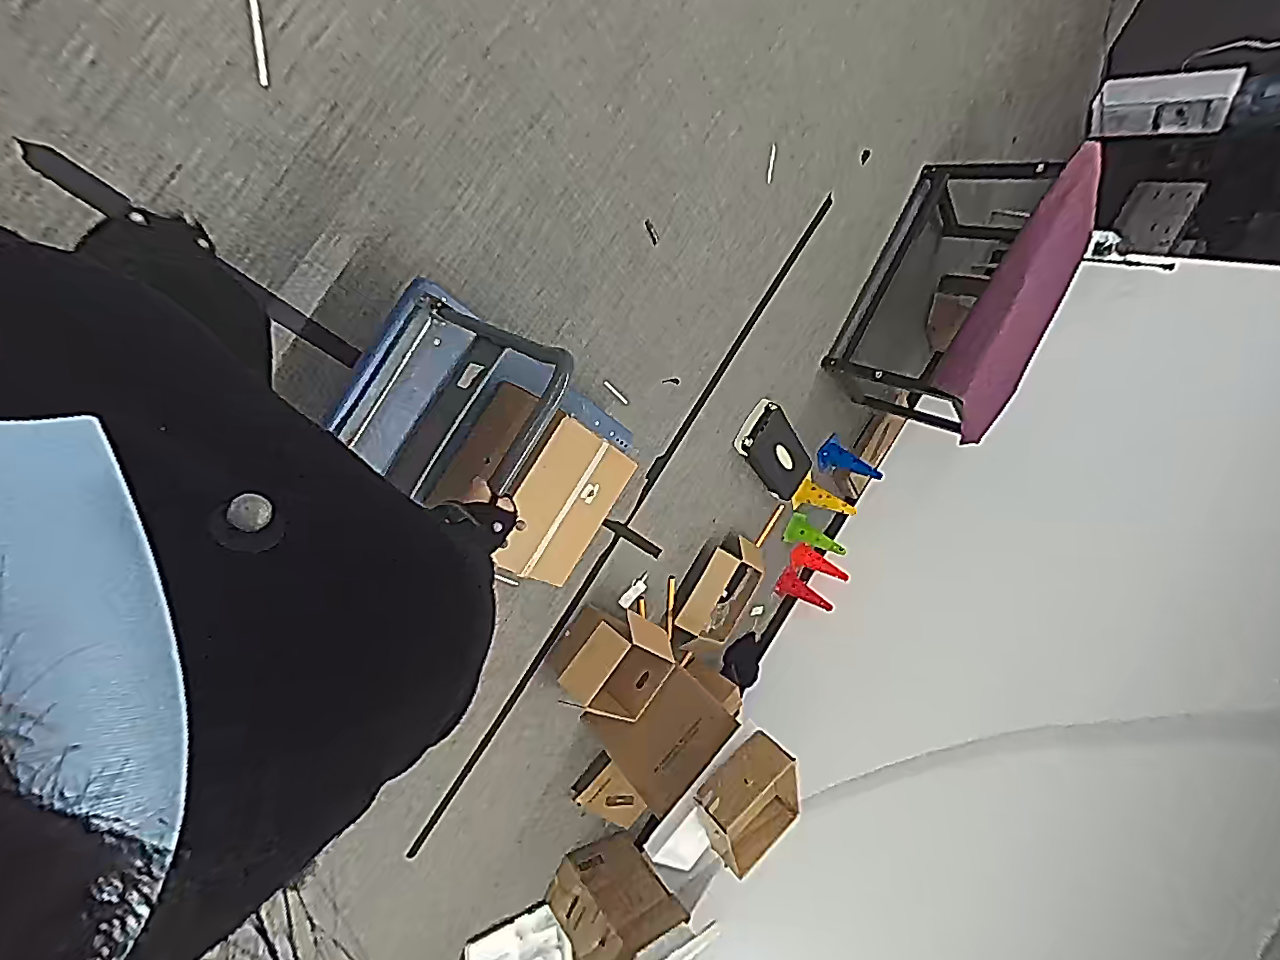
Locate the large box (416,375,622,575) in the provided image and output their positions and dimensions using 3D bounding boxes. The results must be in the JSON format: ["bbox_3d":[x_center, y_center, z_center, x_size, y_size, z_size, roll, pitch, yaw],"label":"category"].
[{"bbox_3d":[-0.330,-0.012,1.477,0.320,0.320,0.408,35,85,-50],"label":"large box"}]
